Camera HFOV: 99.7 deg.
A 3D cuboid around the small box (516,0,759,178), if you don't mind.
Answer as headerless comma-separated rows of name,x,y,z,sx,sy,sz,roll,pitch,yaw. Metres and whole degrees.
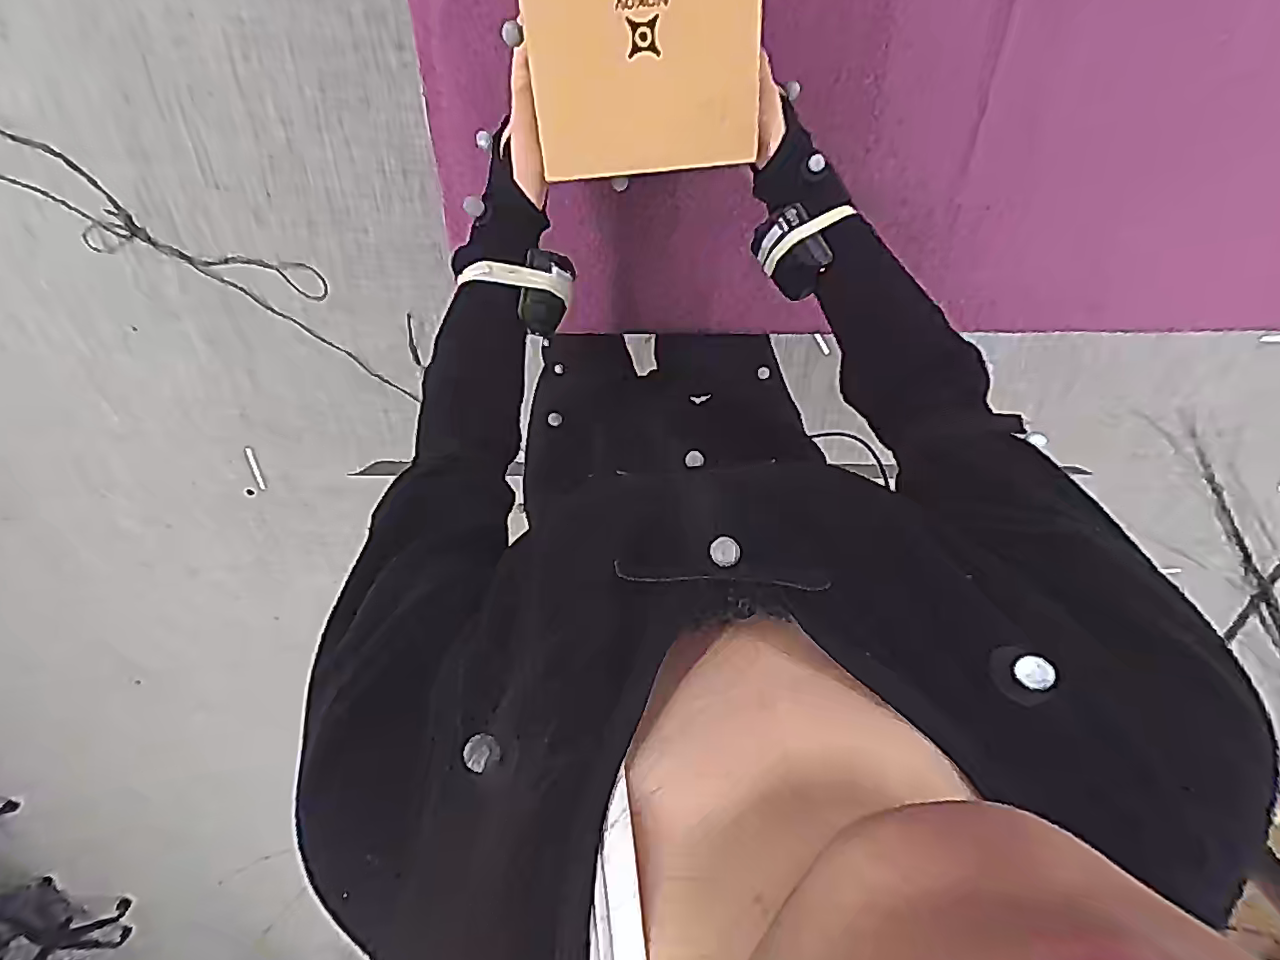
small box,-0.005,-0.353,0.434,0.168,0.176,0.179,-6,122,-1
